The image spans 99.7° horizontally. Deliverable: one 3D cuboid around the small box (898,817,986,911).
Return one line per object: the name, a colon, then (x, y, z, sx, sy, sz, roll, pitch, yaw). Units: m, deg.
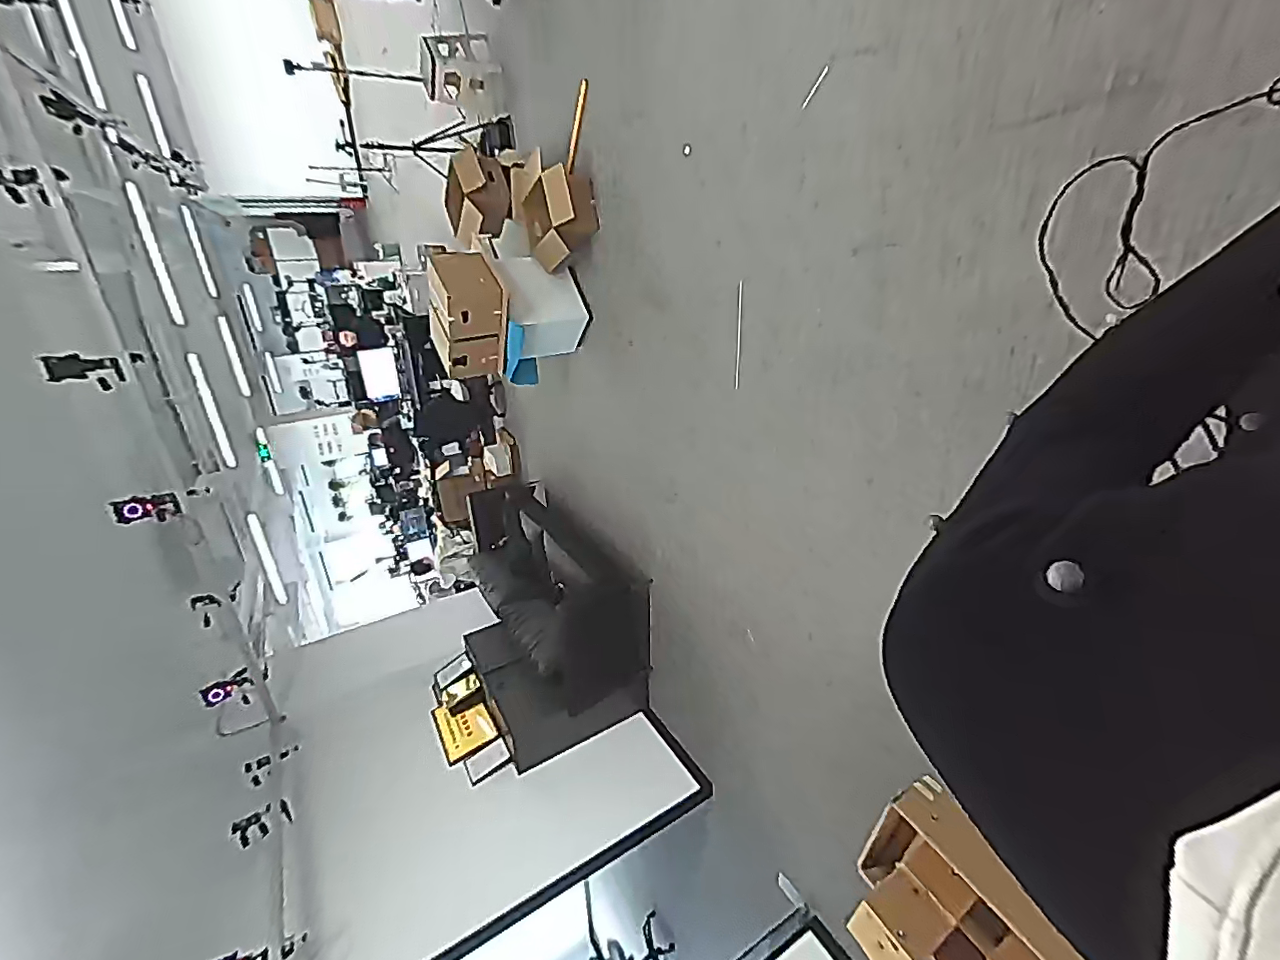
small box: (0.863, 1.137, 1.572, 0.168, 0.176, 0.179, 39, 136, 45)

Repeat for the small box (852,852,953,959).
small box: (0.726, 1.187, 1.496, 0.168, 0.176, 0.179, 41, 138, 44)
